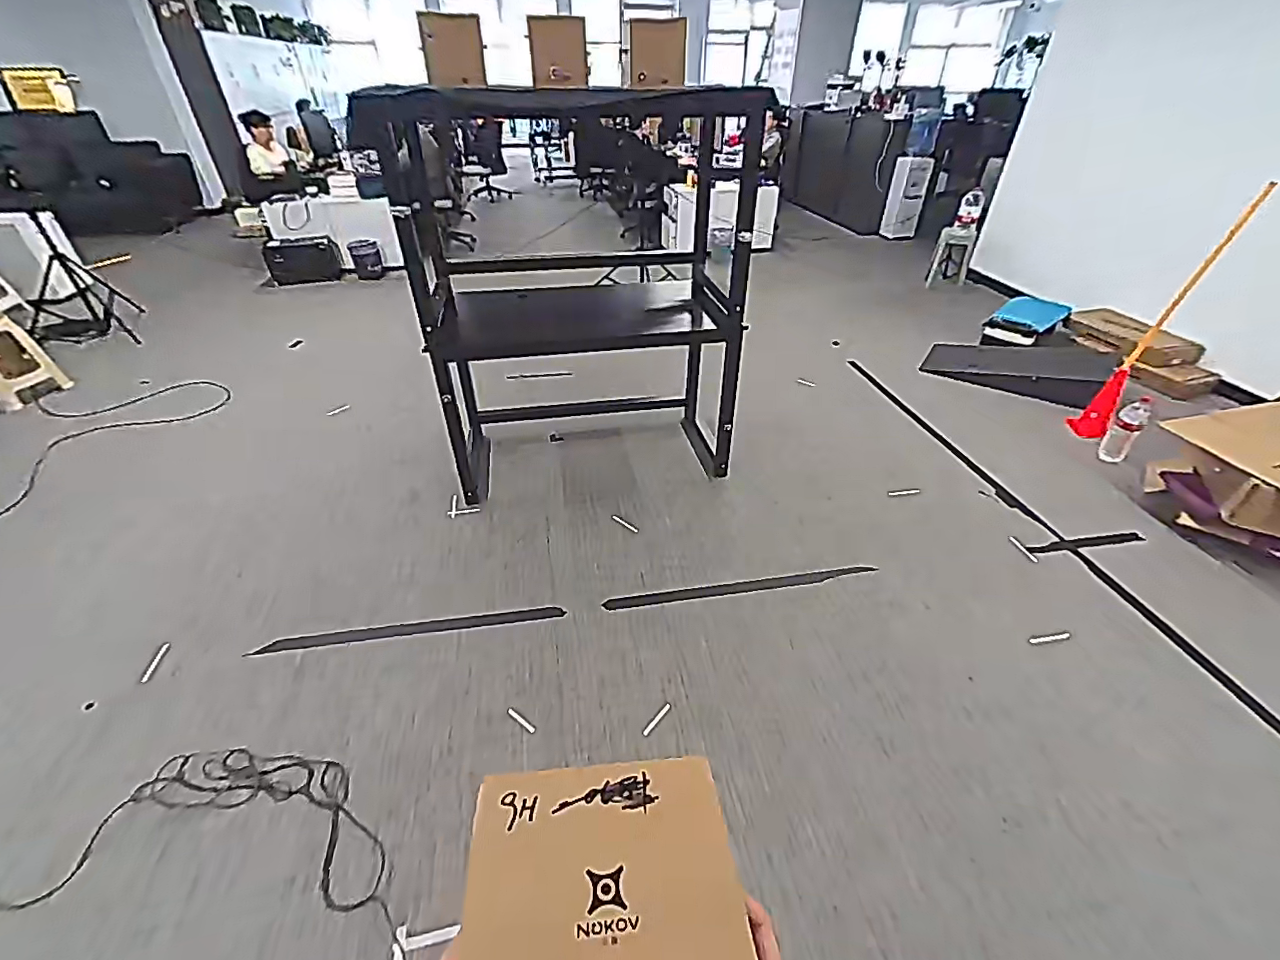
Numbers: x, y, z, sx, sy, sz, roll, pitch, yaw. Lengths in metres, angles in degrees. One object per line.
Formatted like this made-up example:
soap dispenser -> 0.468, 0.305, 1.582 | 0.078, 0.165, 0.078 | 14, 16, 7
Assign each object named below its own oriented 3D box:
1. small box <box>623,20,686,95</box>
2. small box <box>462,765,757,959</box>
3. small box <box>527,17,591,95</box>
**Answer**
small box -> 0.043, -1.269, 1.628 | 0.168, 0.176, 0.179 | -5, 36, -7
small box -> -0.021, 0.323, 0.355 | 0.168, 0.176, 0.179 | -1, 31, -7
small box -> -0.235, -1.234, 1.582 | 0.168, 0.176, 0.179 | -5, 36, -6
